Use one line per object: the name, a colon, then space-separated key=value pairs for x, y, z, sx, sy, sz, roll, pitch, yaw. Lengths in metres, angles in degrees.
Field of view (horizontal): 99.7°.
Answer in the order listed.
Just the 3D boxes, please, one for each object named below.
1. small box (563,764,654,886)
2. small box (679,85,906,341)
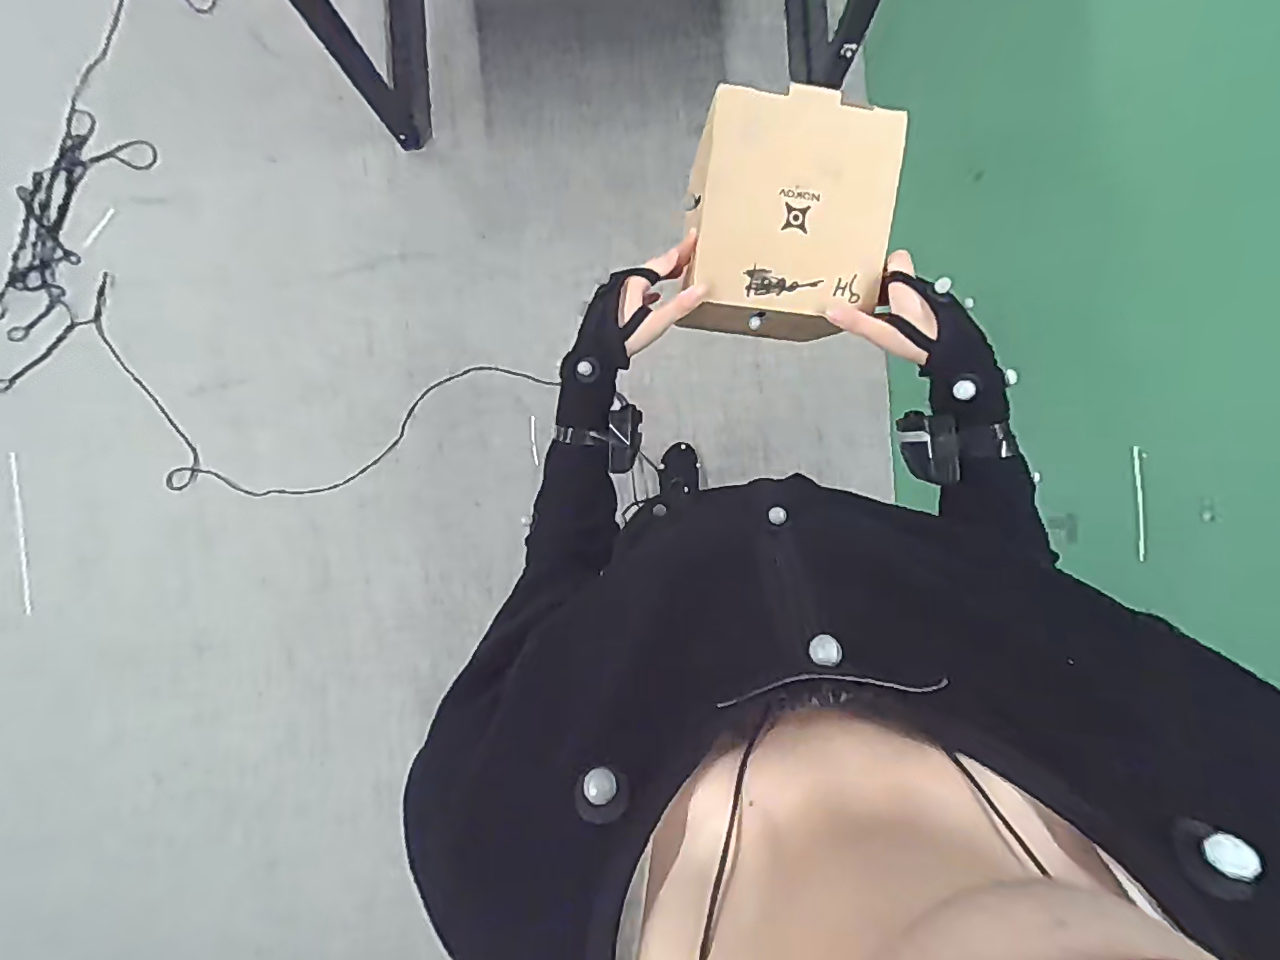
small box: x=-0.066 y=0.774 z=1.234 sx=0.168 sy=0.176 sz=0.179 roll=-11 pitch=88 yaw=6
small box: x=0.134 y=-0.246 z=0.544 sx=0.168 sy=0.176 sz=0.179 roll=6 pitch=98 yaw=-2
